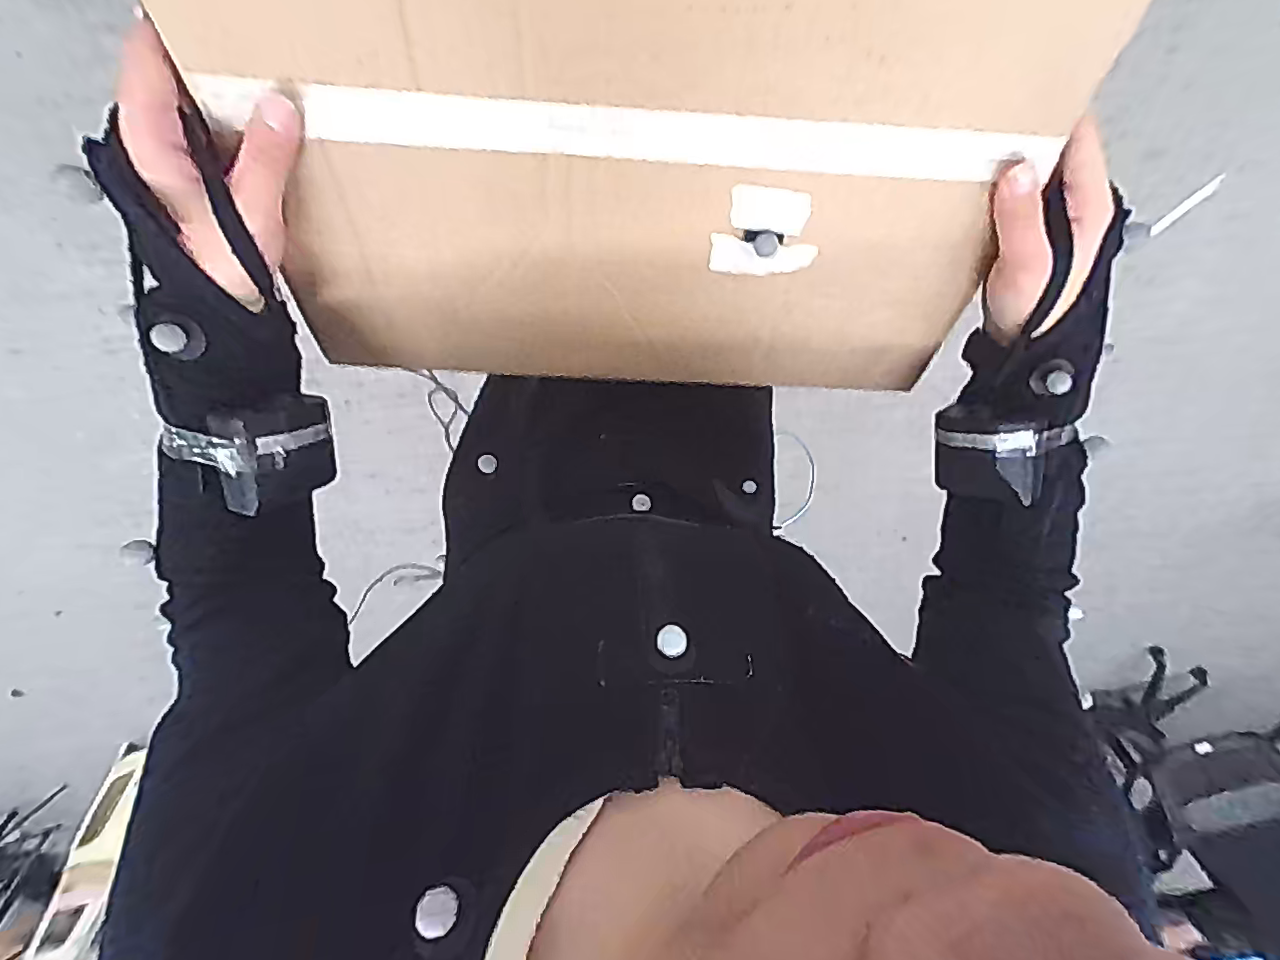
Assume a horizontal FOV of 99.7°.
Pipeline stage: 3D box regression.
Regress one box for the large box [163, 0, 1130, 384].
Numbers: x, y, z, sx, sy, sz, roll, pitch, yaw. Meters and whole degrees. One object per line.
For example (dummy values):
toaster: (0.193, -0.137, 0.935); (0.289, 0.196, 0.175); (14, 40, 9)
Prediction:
large box: (-0.004, -0.281, 0.355); (0.408, 0.320, 0.320); (0, 143, -5)
